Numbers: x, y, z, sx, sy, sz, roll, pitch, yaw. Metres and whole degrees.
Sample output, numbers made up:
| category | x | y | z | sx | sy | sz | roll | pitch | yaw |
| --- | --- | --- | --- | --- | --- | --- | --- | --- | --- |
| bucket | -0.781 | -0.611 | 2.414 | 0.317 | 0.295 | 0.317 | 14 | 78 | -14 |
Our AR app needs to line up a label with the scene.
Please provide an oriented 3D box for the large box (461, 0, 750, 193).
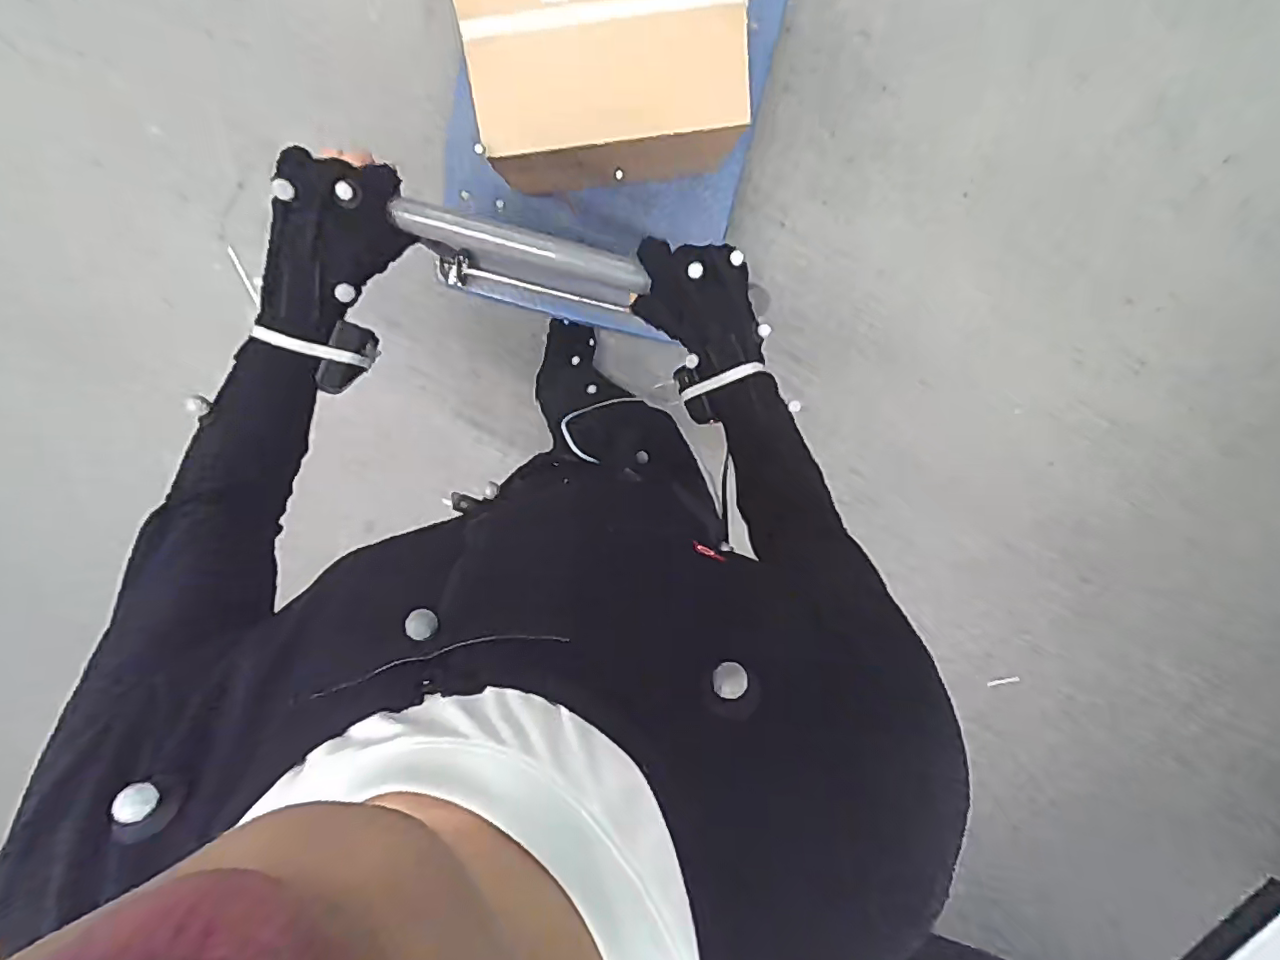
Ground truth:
| category | x | y | z | sx | sy | sz | roll | pitch | yaw |
| --- | --- | --- | --- | --- | --- | --- | --- | --- | --- |
| large box | -0.053 | -0.705 | 0.911 | 0.408 | 0.320 | 0.320 | -7 | 107 | 1 |
